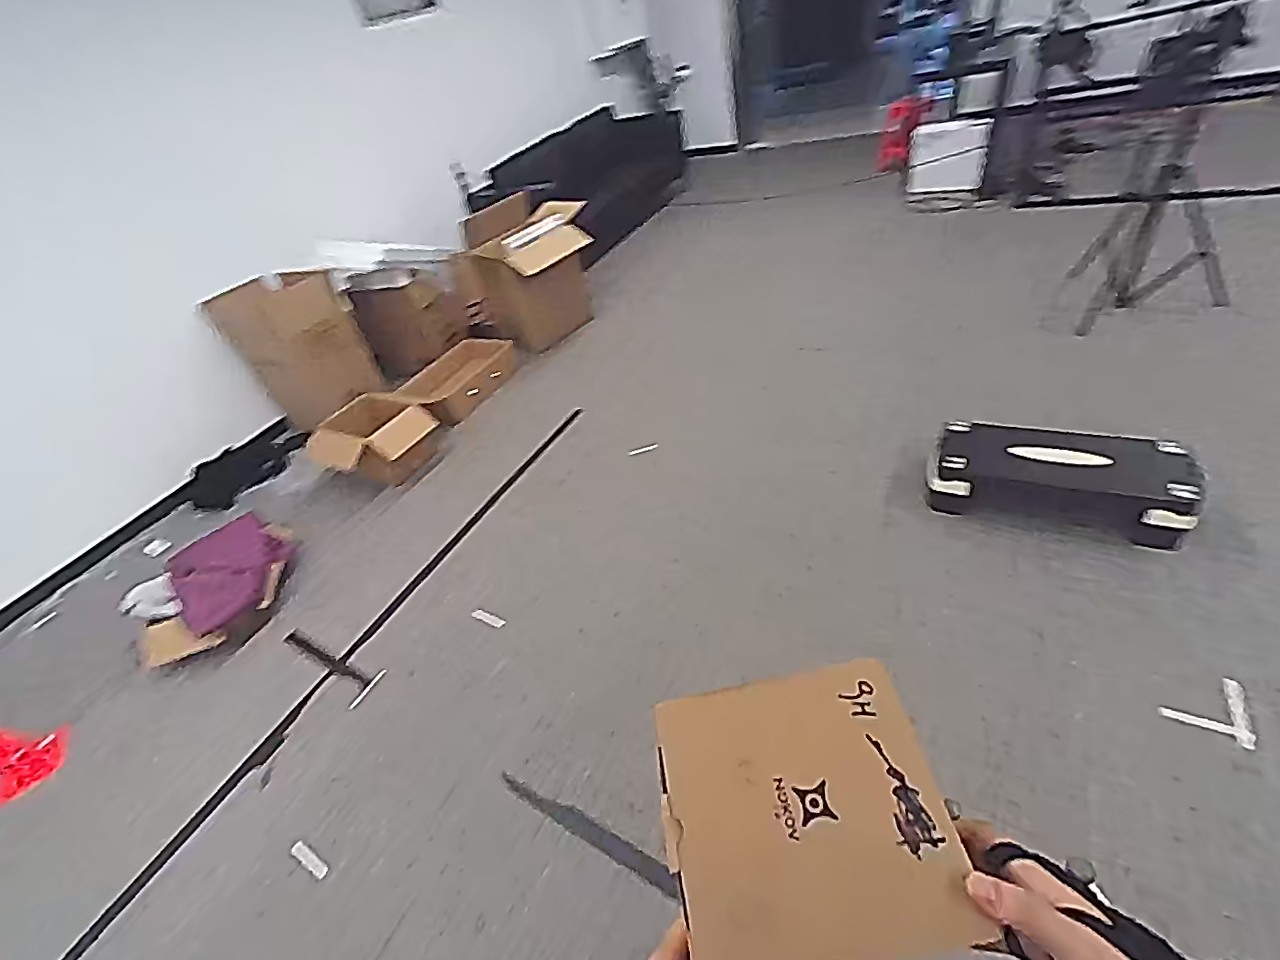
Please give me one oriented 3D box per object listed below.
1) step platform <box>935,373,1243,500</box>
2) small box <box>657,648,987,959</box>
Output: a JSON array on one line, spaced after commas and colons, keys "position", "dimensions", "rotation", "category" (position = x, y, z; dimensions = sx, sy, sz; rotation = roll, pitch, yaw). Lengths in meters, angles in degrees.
[{"position": [1.271, -0.145, 1.614], "dimensions": [0.684, 0.204, 0.286], "rotation": [11, 47, 28], "category": "step platform"}, {"position": [0.122, 0.255, 0.425], "dimensions": [0.179, 0.176, 0.168], "rotation": [-13, 51, 4], "category": "small box"}]
